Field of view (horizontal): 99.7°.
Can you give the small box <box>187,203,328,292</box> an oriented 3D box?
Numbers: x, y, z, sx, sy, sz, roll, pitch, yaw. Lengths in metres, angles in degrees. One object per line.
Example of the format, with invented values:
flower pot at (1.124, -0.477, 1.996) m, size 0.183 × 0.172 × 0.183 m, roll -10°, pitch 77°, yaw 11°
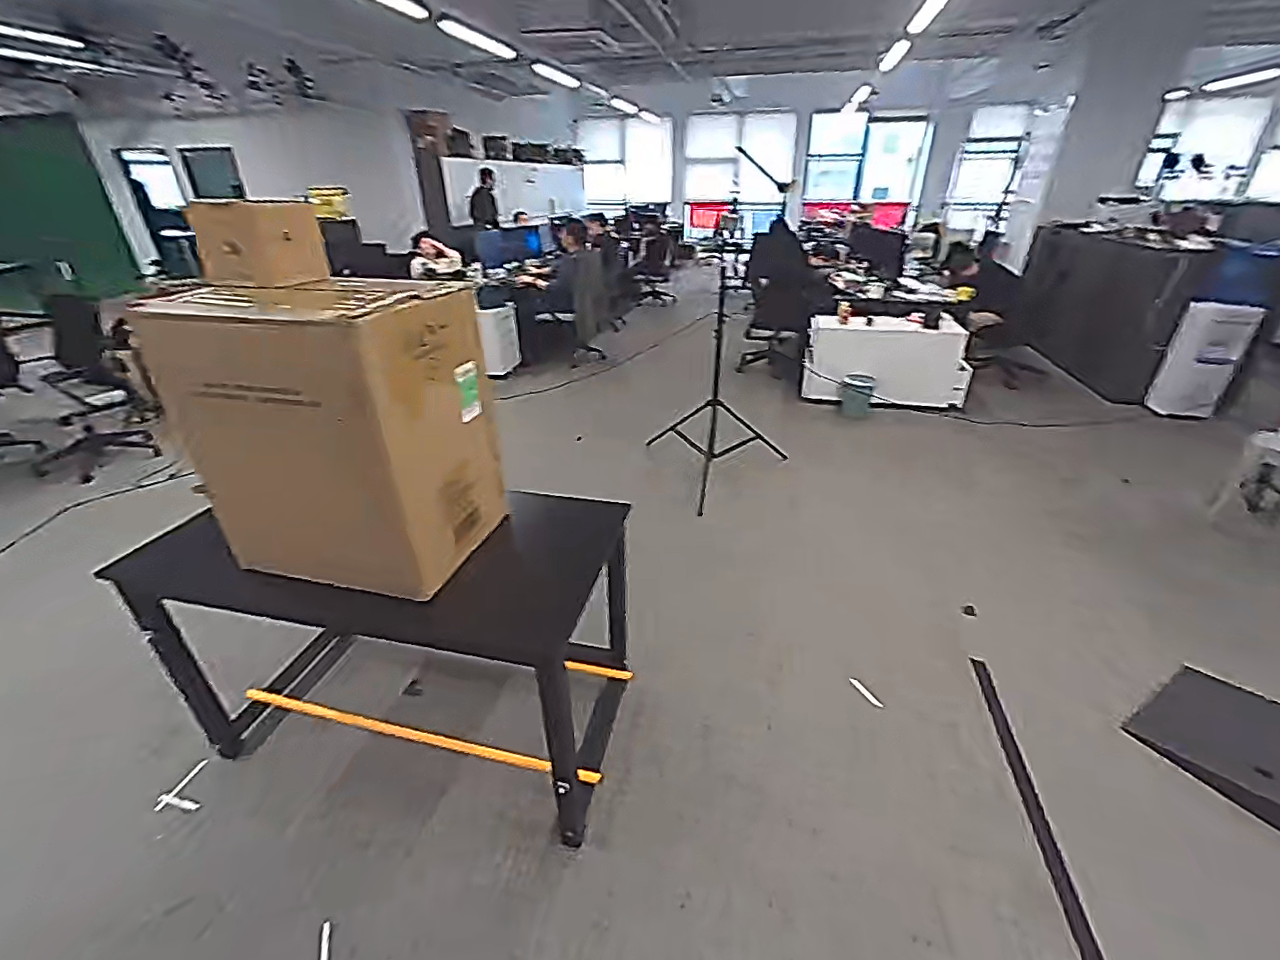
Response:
small box at (-0.831, -0.517, 1.199) m, size 0.168 × 0.176 × 0.179 m, roll 5°, pitch 28°, yaw 9°
